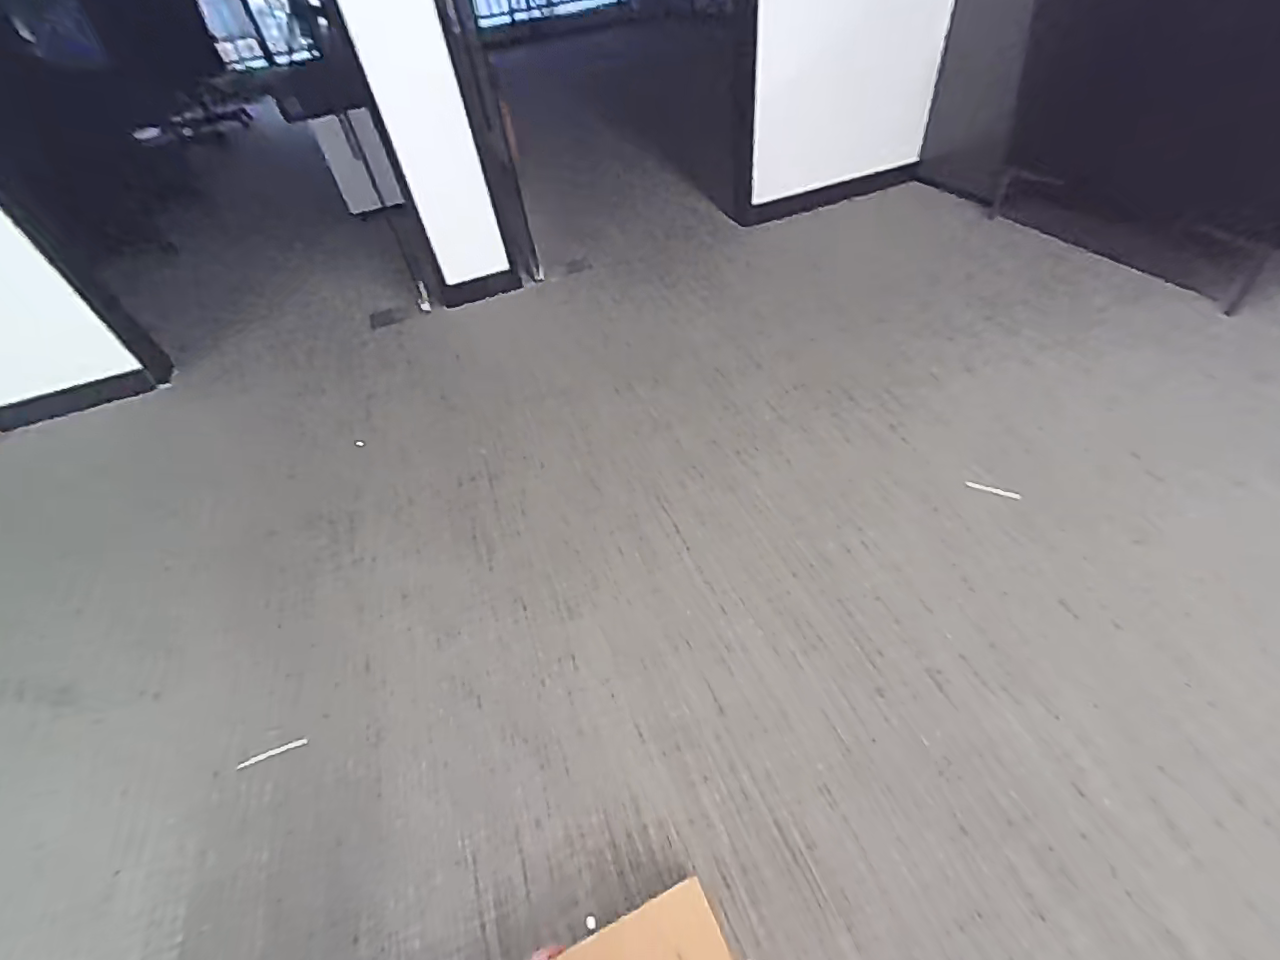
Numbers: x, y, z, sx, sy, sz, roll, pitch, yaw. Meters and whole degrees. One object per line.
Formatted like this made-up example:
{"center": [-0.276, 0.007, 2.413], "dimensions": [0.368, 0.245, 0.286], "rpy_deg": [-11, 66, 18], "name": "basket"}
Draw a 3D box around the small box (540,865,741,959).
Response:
{"center": [0.020, 0.538, 0.566], "dimensions": [0.179, 0.176, 0.168], "rpy_deg": [-25, 58, -8], "name": "small box"}
